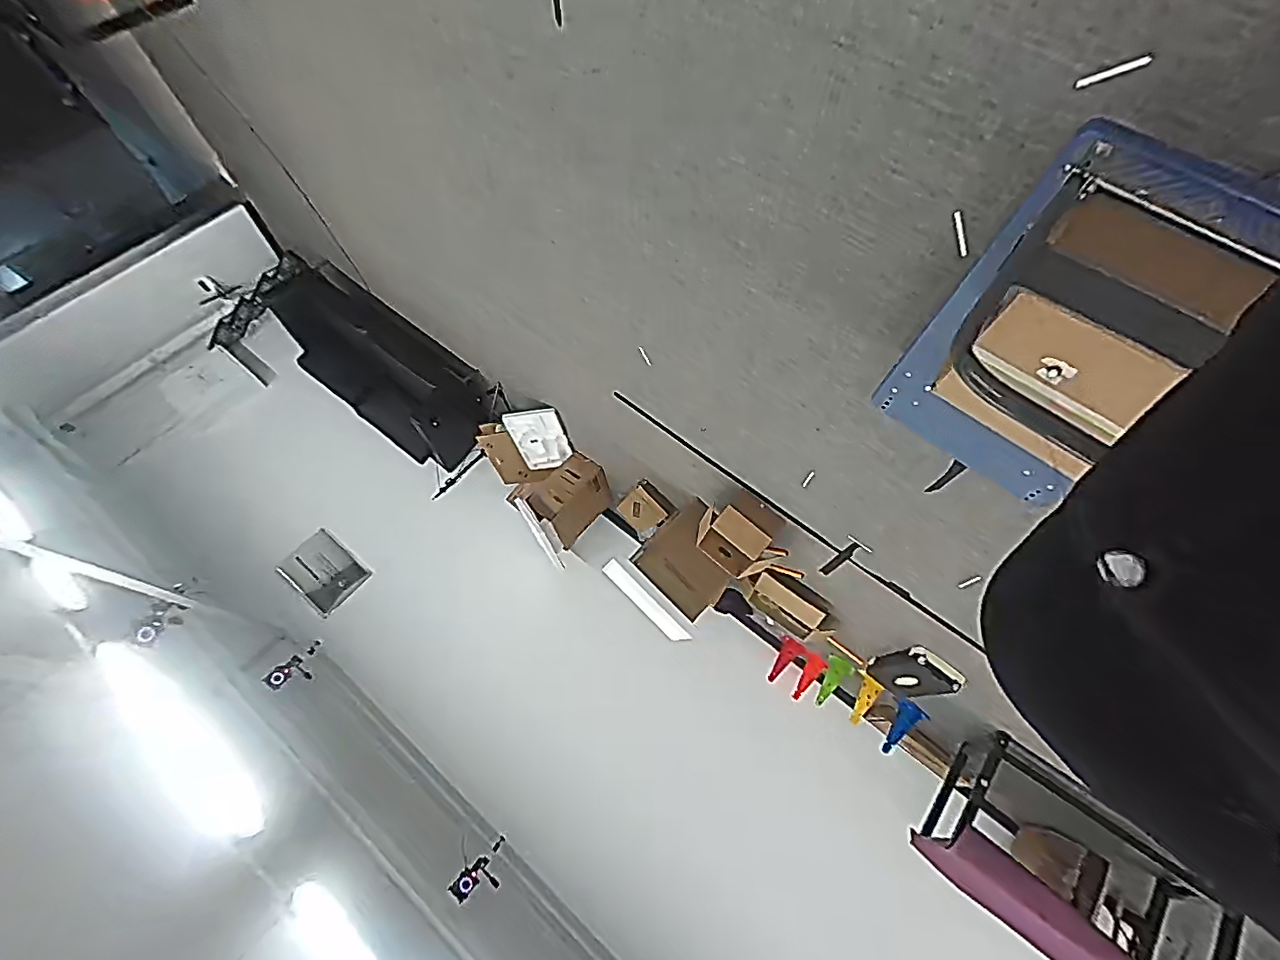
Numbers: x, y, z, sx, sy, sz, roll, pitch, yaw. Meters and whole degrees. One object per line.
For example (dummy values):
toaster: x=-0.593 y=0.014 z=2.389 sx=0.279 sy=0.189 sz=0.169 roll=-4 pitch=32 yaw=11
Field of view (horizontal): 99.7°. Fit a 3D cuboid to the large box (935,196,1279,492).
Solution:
large box: x=0.894 y=-0.254 z=1.042 sx=0.408 sy=0.320 sz=0.320 roll=39 pitch=158 yaw=14
